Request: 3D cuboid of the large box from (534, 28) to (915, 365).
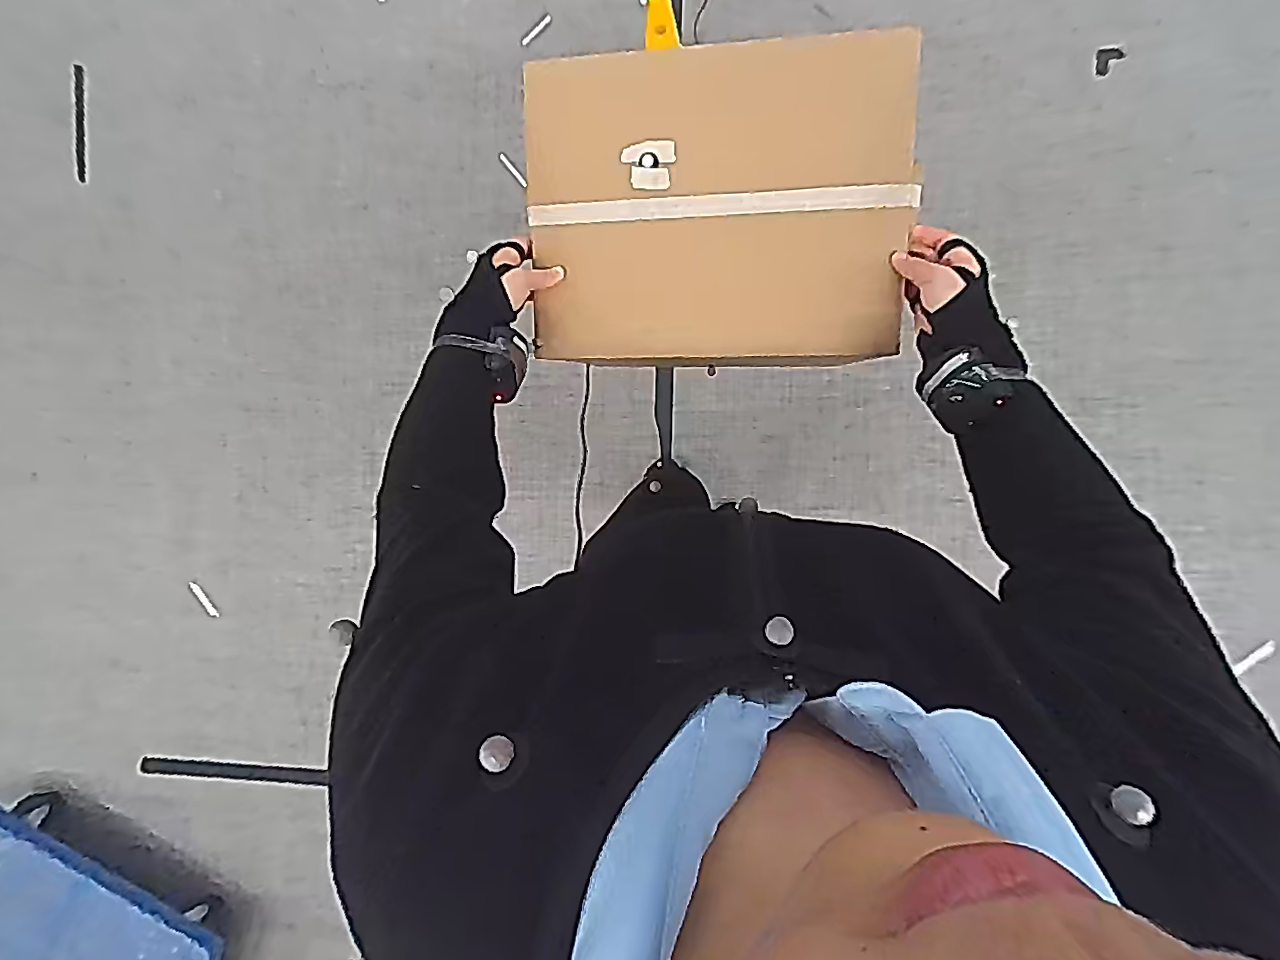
[{"bbox_3d":[0.107,-0.321,0.733,0.408,0.320,0.320,1,99,10],"label":"large box"}]
